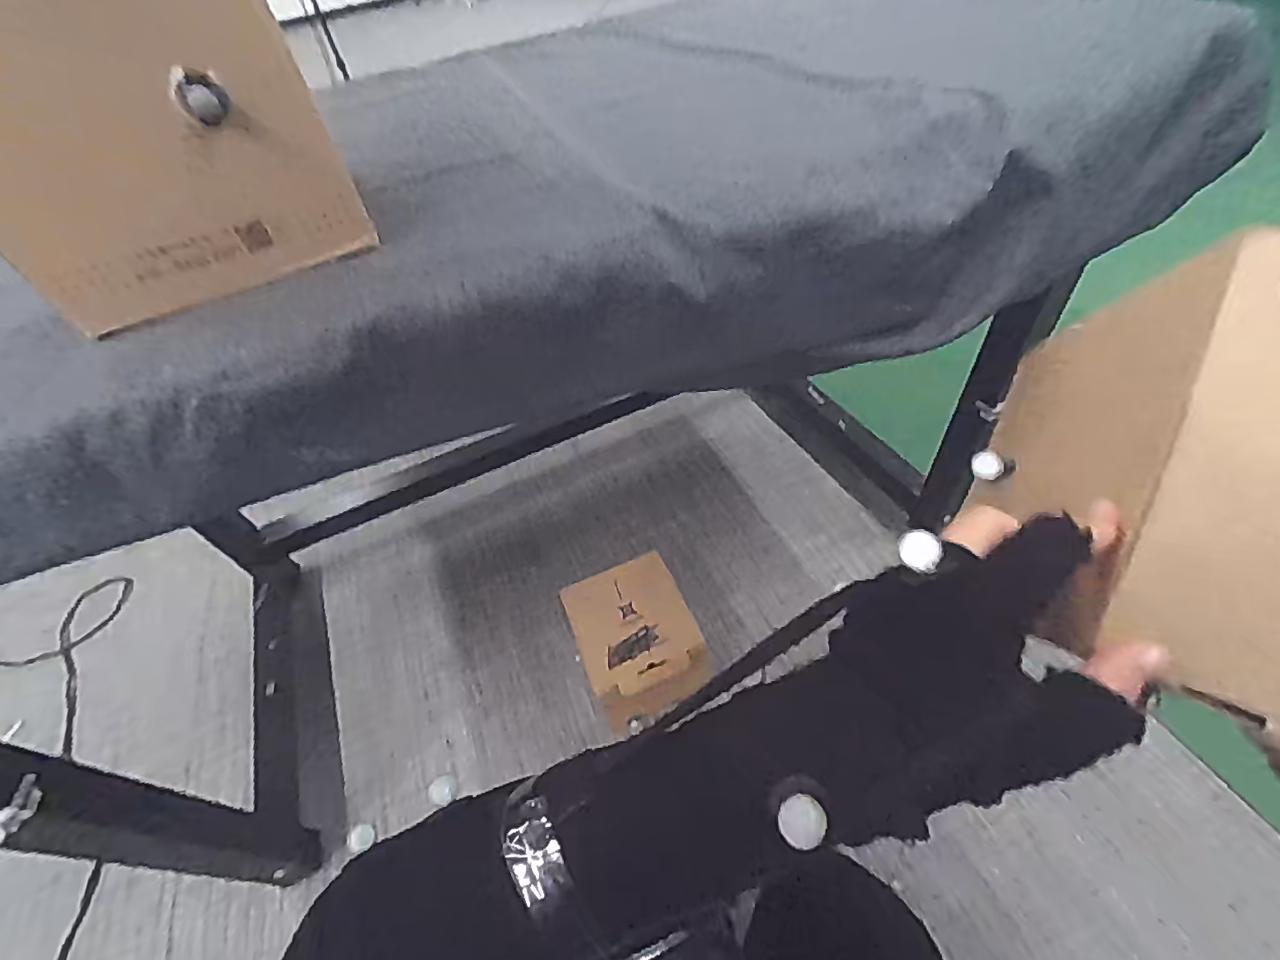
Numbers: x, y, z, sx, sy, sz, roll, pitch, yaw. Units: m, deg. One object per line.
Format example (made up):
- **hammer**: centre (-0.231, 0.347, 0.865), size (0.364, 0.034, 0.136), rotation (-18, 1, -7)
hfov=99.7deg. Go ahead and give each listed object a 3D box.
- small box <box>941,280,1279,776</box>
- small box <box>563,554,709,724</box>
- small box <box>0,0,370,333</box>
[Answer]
- **small box**: centre (0.285, 0.036, 0.276), size (0.168, 0.176, 0.179), rotation (21, 89, 11)
- **small box**: centre (-0.001, 0.254, 0.841), size (0.168, 0.176, 0.179), rotation (-22, 48, -9)
- **small box**: centre (-0.286, -0.209, 0.321), size (0.168, 0.176, 0.179), rotation (-26, 47, -15)
